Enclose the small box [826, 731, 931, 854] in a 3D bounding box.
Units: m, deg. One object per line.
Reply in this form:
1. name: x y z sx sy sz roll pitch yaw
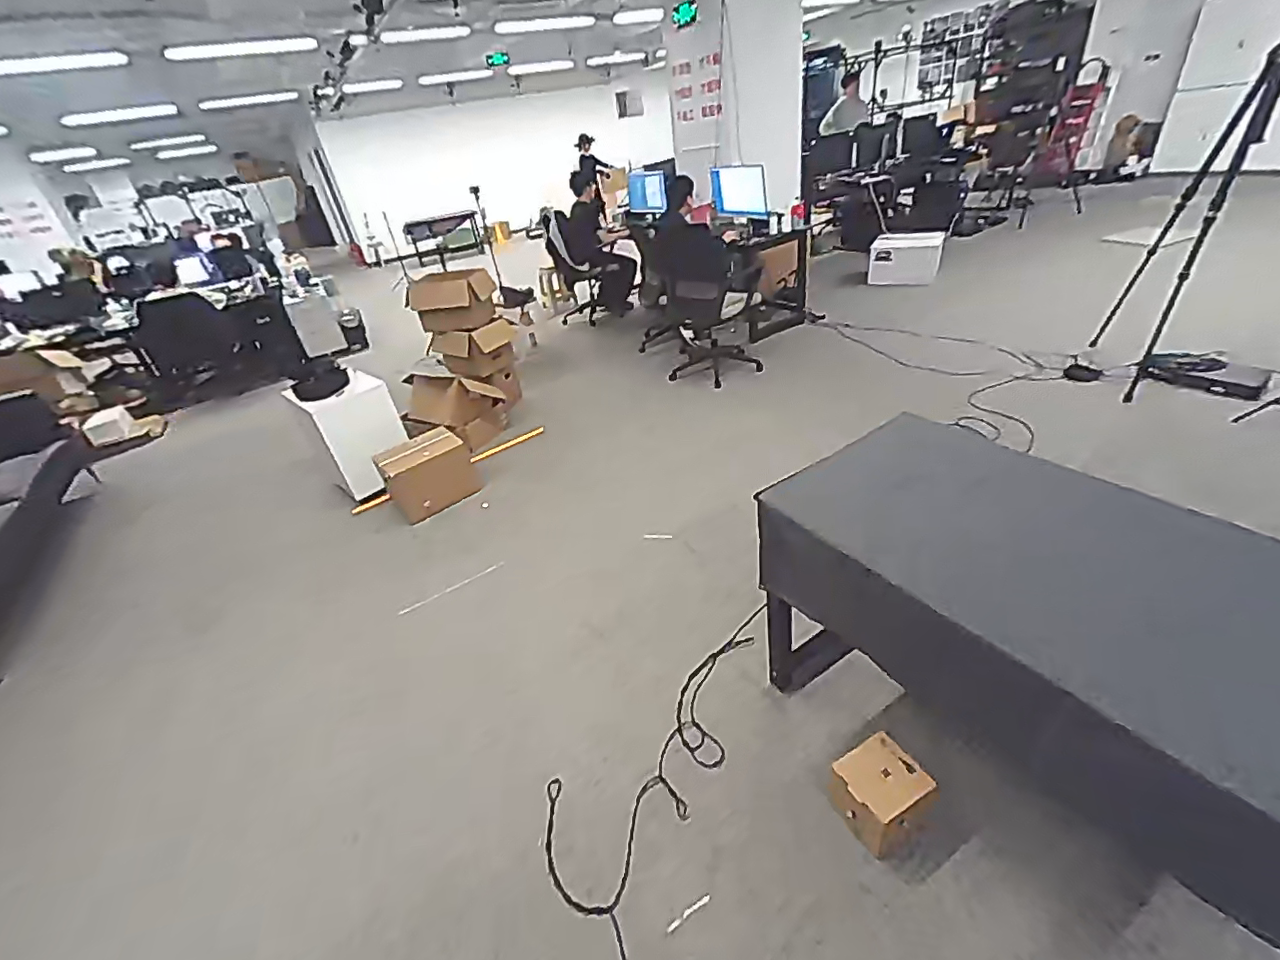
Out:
1. small box: 0.582 0.772 1.336 0.179 0.176 0.168 -22 34 -19
